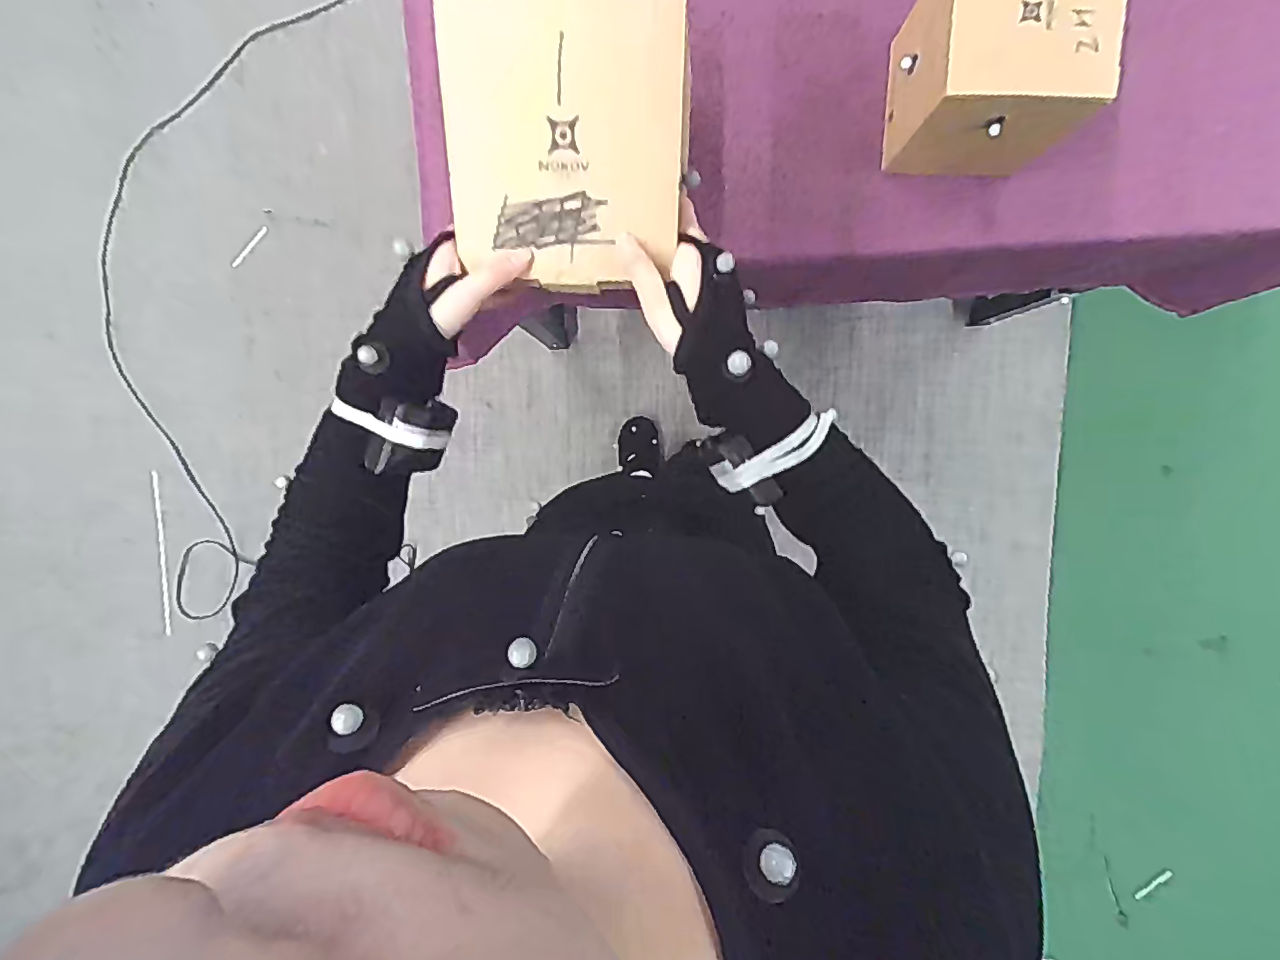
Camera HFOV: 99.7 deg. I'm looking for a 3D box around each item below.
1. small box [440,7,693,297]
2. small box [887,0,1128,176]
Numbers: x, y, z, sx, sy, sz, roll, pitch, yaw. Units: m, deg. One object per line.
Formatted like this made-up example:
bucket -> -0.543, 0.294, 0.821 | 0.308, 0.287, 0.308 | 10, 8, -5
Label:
small box -> -0.045, -0.253, 0.454 | 0.168, 0.176, 0.179 | 4, 111, 6
small box -> 0.410, -0.478, 0.630 | 0.179, 0.176, 0.168 | 4, 95, 3
